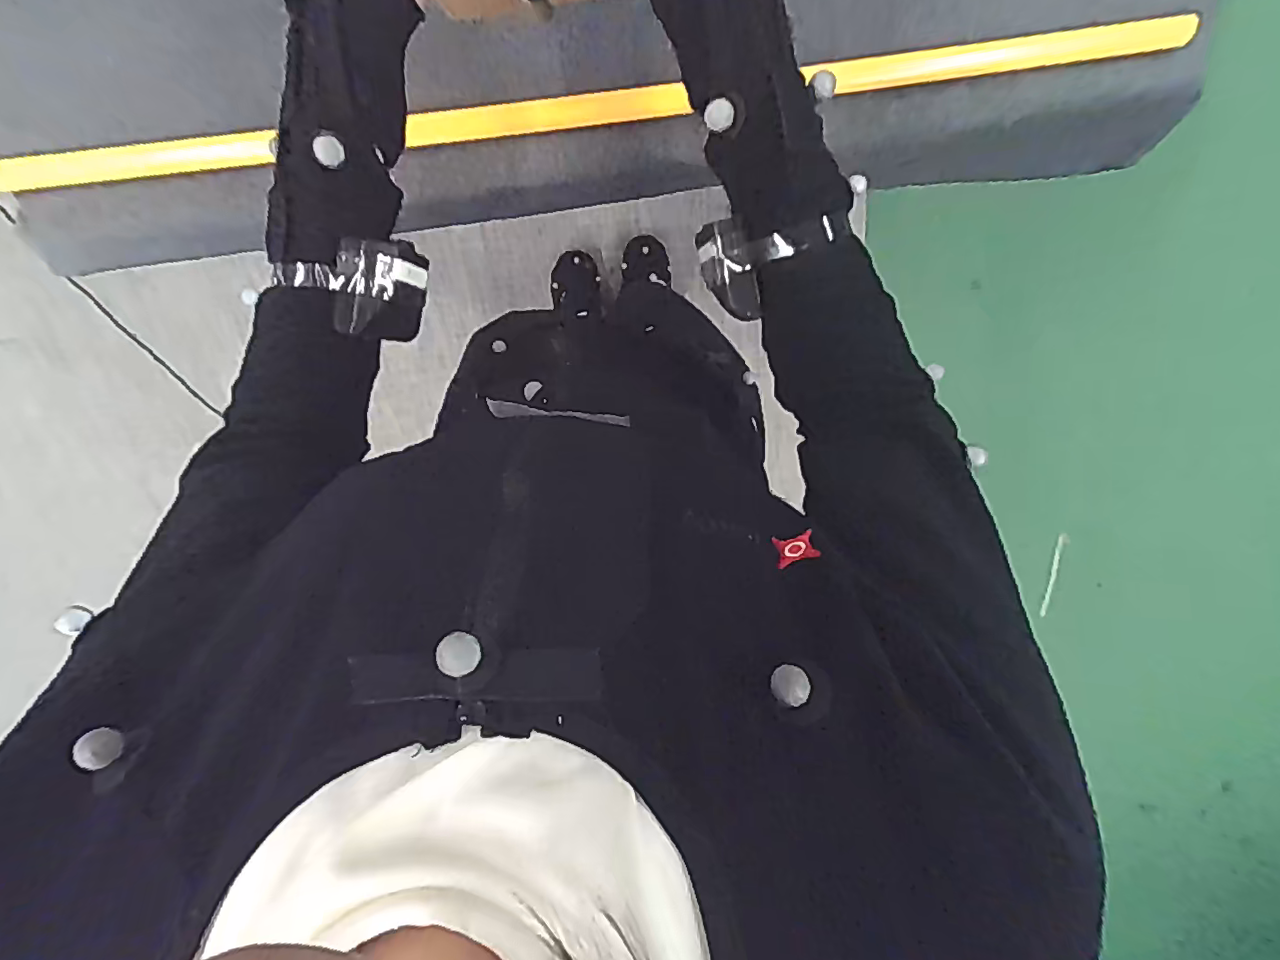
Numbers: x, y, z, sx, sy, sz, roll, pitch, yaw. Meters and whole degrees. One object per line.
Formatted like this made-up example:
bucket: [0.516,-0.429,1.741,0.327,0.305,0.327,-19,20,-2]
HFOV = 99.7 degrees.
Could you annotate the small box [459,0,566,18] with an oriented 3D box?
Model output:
small box: [-0.076,-0.421,0.320,0.168,0.176,0.179,-9,117,3]
